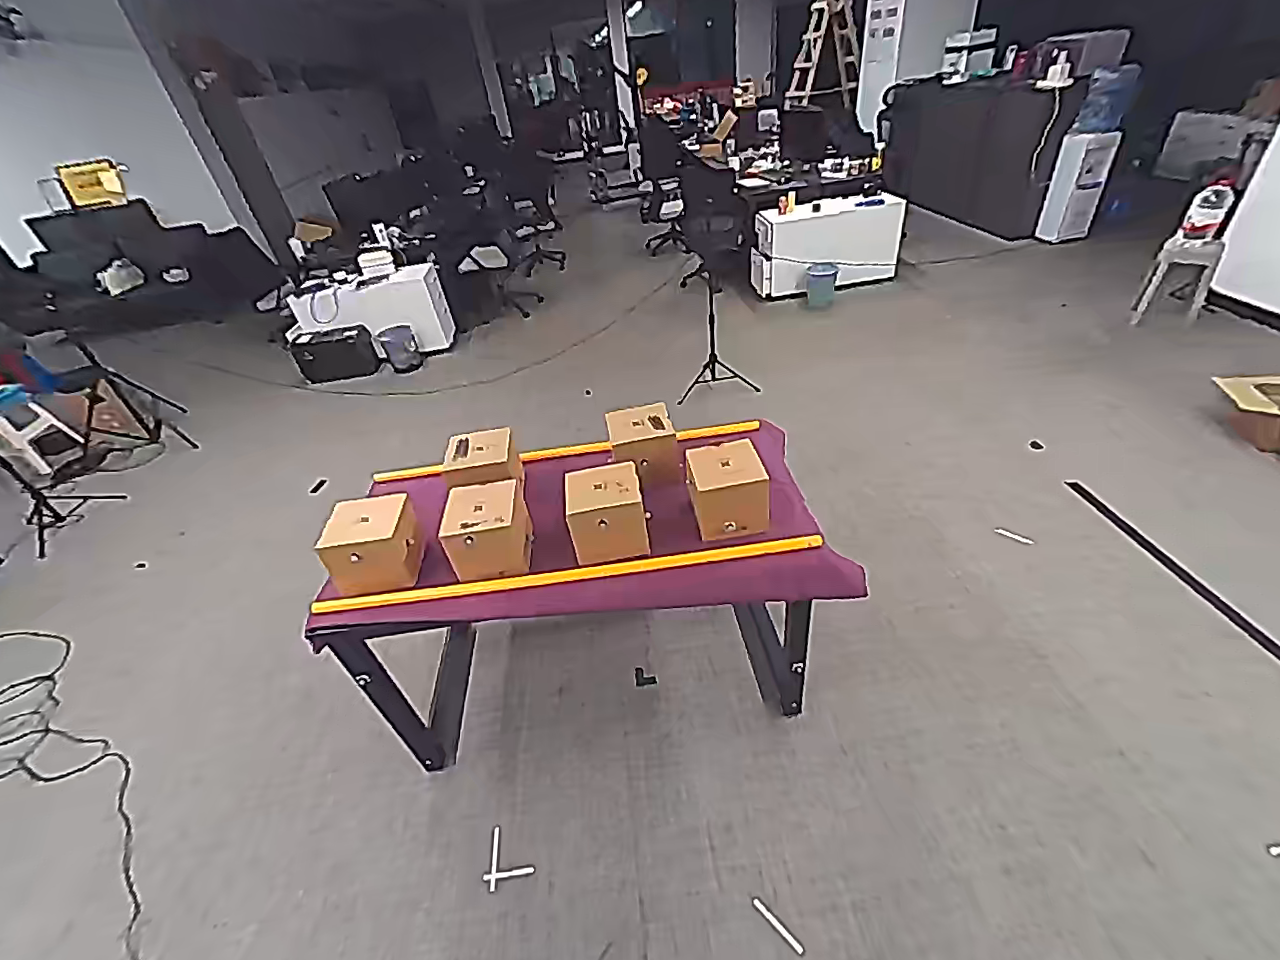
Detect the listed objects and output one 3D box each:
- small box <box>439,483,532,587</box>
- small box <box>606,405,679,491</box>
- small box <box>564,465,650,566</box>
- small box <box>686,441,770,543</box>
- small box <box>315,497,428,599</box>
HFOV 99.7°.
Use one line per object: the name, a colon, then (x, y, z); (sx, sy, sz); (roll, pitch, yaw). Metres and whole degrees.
small box: (-0.363, 0.132, 1.310); (0.168, 0.176, 0.179); (-10, 37, 0)
small box: (0.009, -0.084, 1.513); (0.179, 0.176, 0.168); (-11, 38, -2)
small box: (-0.080, 0.088, 1.308); (0.179, 0.176, 0.168); (-10, 36, -2)
small box: (0.212, 0.029, 1.322); (0.168, 0.176, 0.179); (-11, 35, 0)
small box: (-0.641, 0.168, 1.319); (0.179, 0.176, 0.168); (-9, 37, -1)
